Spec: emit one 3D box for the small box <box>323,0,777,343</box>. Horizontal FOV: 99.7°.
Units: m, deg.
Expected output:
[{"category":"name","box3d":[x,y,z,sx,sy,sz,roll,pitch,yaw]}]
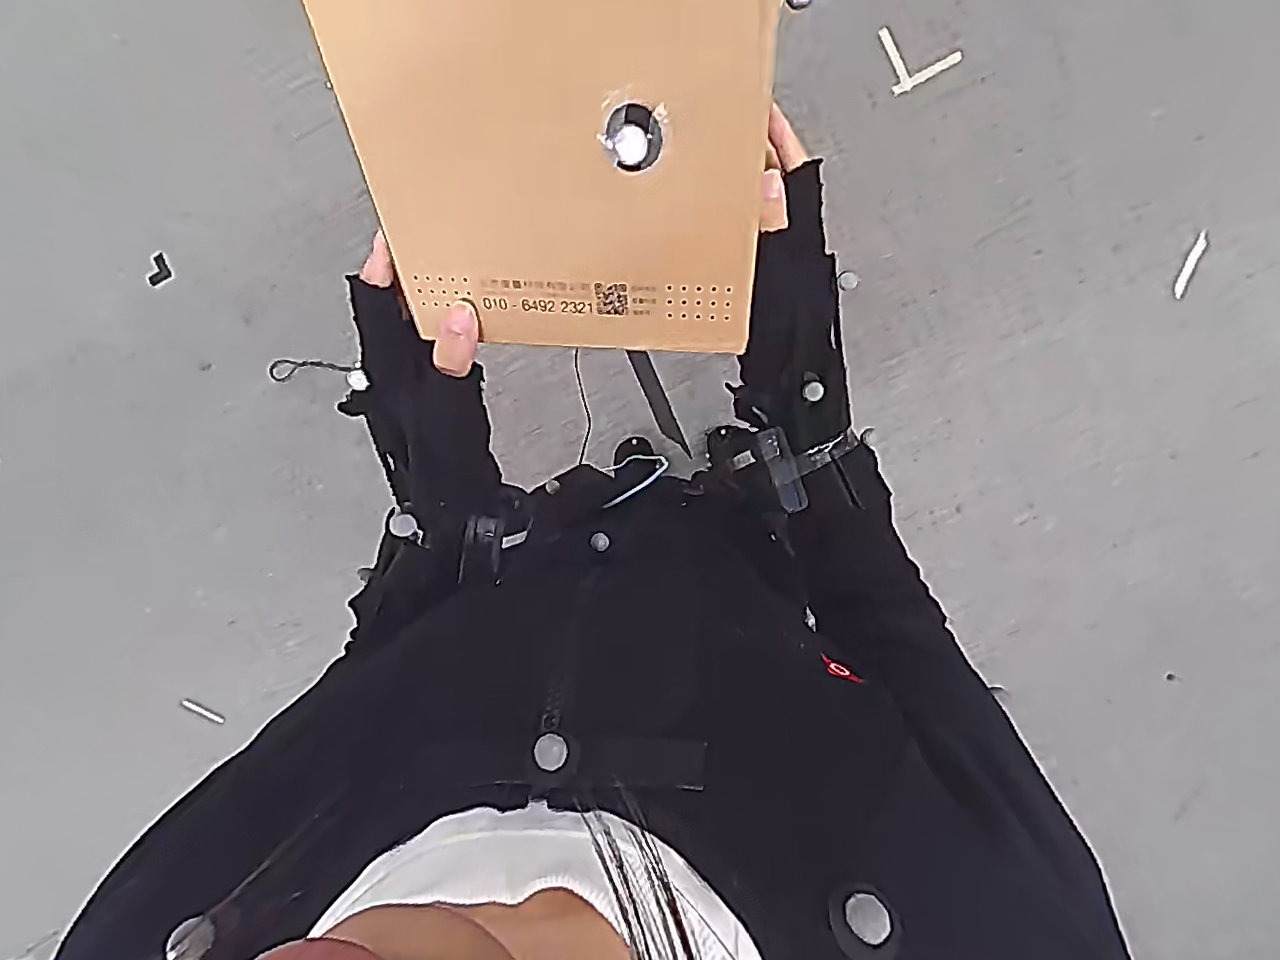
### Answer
[{"category":"small box","box3d":[-0.018,-0.187,0.285,0.168,0.179,0.176,6,134,11]}]
